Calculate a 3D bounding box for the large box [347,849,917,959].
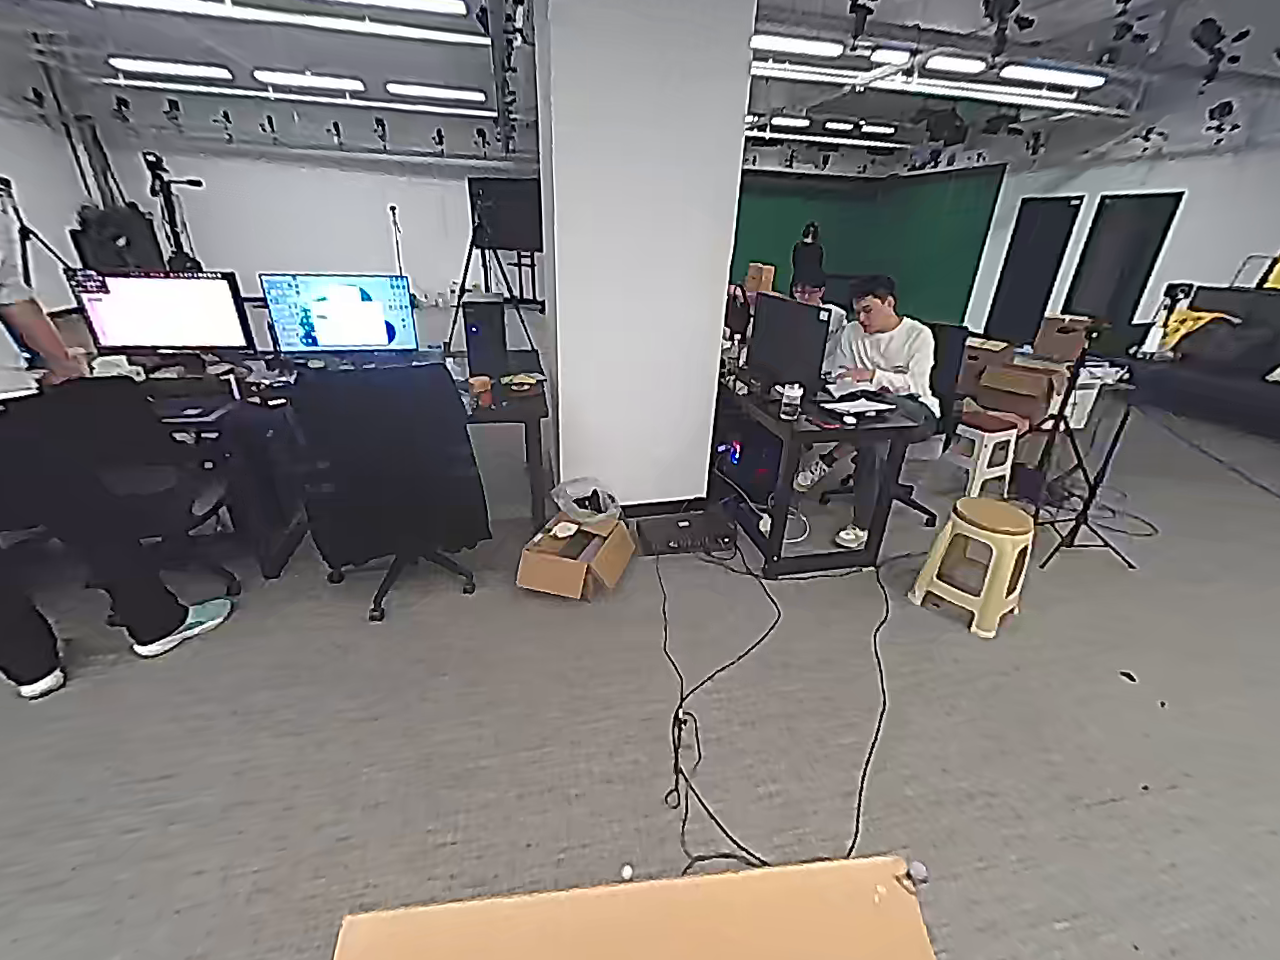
[{"bbox_3d":[0.000,0.512,0.428,0.408,0.320,0.320,-2,53,-6],"label":"large box"}]
